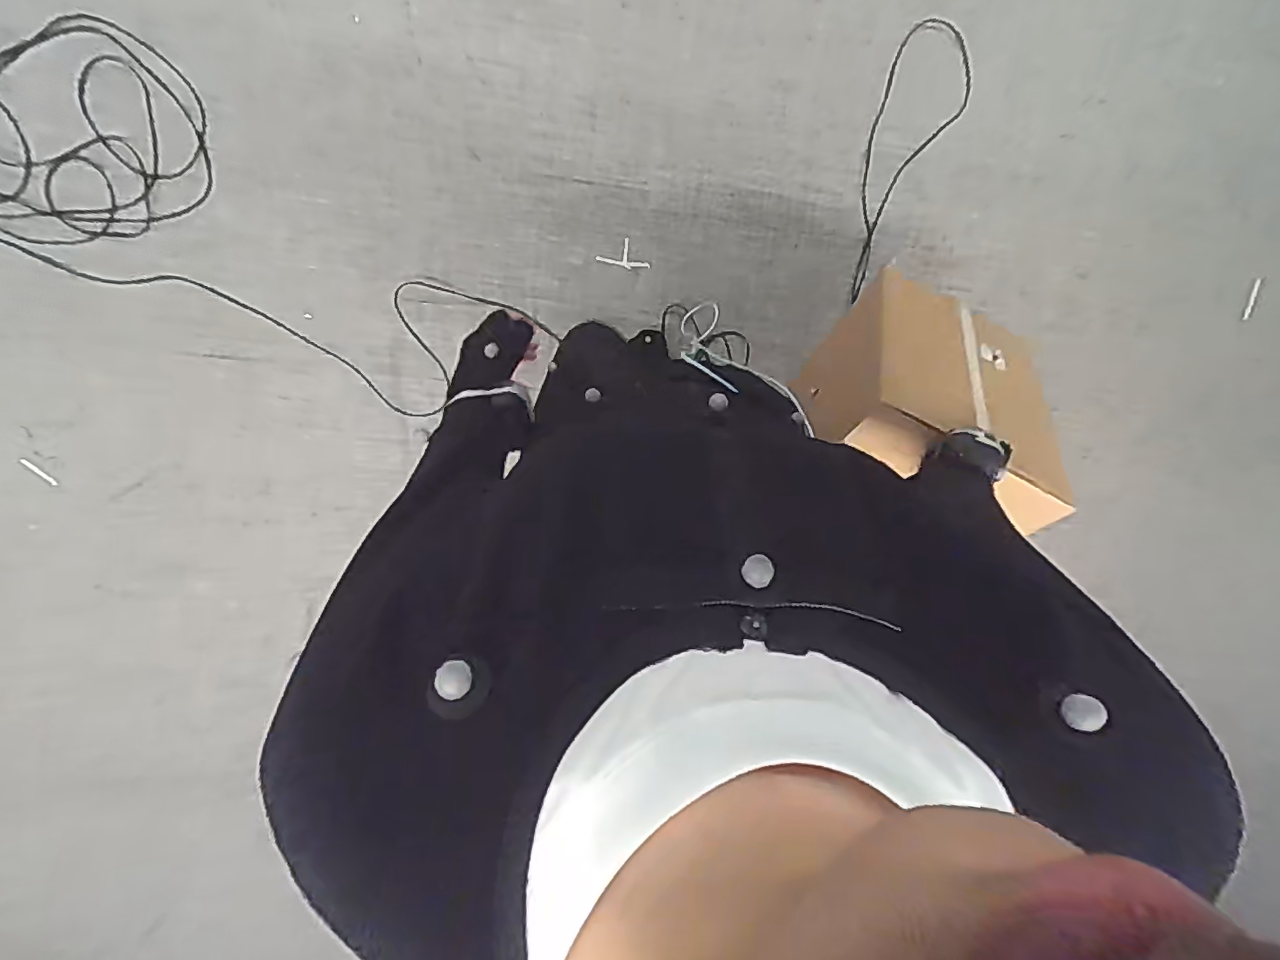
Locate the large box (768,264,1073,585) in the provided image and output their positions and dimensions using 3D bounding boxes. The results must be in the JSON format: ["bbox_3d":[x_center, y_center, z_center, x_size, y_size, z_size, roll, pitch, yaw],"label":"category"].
[{"bbox_3d":[0.458,-0.094,0.956,0.320,0.408,0.320,27,141,-5],"label":"large box"}]
